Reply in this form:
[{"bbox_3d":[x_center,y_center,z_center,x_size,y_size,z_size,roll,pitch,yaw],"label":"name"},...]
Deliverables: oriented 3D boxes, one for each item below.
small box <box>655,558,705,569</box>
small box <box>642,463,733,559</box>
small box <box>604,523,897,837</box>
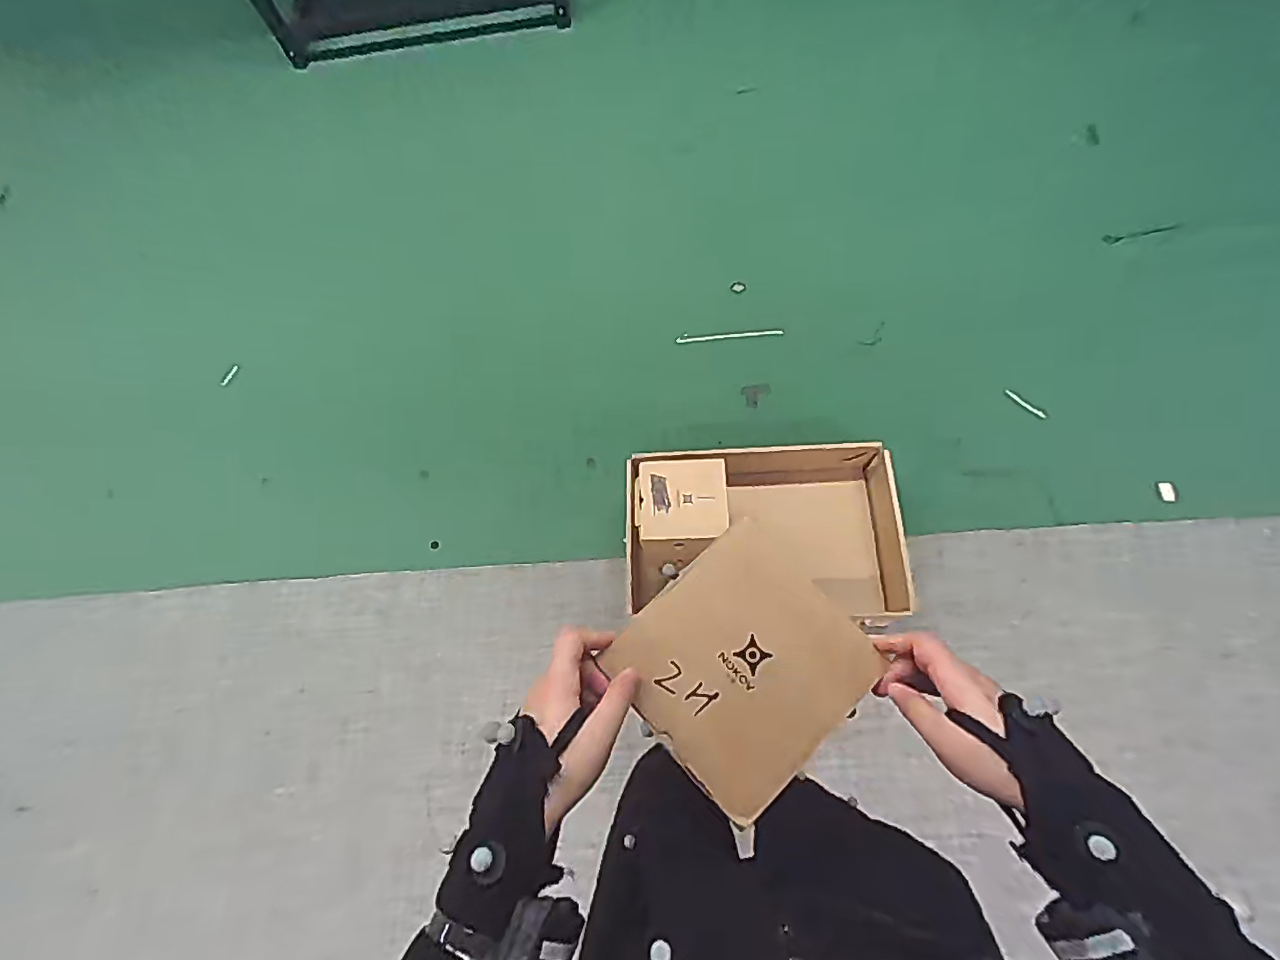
[{"bbox_3d":[0.121,0.116,1.295,0.168,0.176,0.179,-3,71,5],"label":"small box"},{"bbox_3d":[0.099,0.071,1.138,0.179,0.176,0.168,-2,71,4],"label":"small box"},{"bbox_3d":[0.083,0.166,0.497,0.179,0.176,0.168,-42,80,-11],"label":"small box"}]
